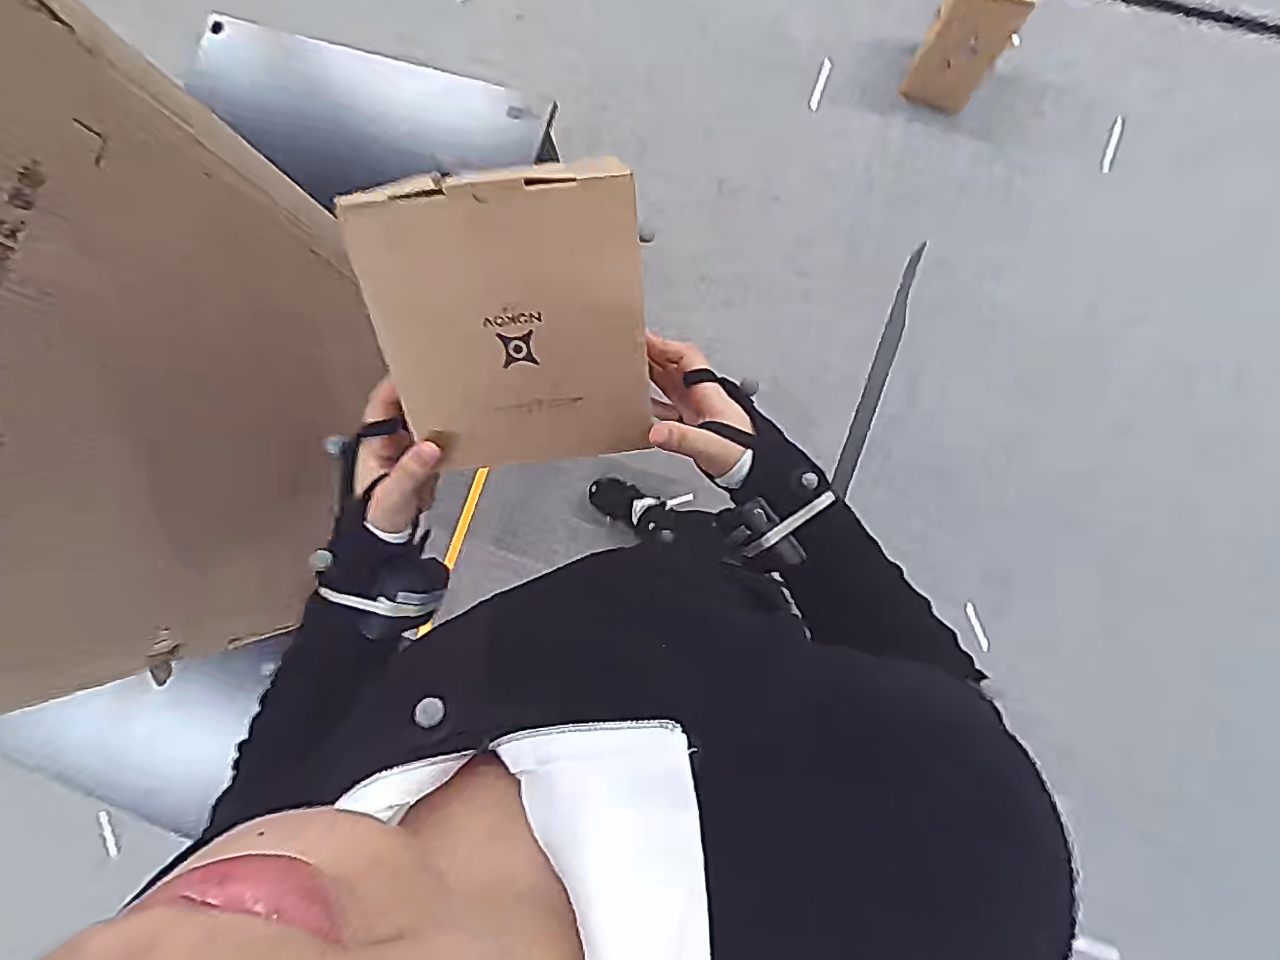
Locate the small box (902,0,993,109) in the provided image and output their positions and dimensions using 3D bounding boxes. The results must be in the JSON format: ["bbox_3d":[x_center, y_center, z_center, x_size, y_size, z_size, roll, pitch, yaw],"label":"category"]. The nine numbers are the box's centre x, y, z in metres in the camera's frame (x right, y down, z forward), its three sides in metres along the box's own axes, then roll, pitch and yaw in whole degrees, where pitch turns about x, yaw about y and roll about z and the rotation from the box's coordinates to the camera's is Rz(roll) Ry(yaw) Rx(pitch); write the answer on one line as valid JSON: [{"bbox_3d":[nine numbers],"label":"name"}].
[{"bbox_3d":[0.831,-1.132,1.432,0.179,0.176,0.168,22,88,5],"label":"small box"}]

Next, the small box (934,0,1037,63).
[{"bbox_3d":[0.827,-1.145,1.267,0.168,0.176,0.179,22,89,5],"label":"small box"}]
